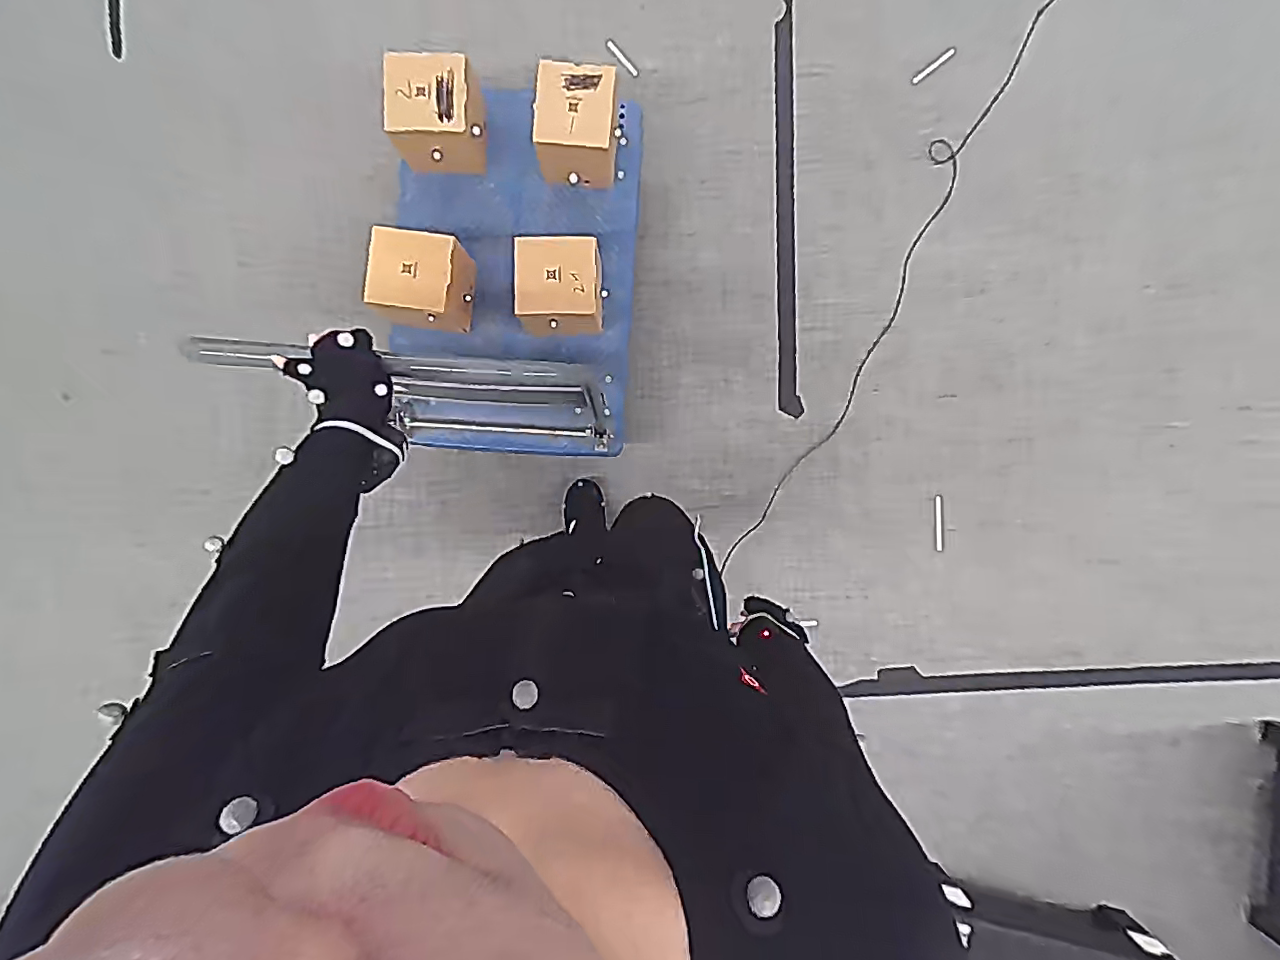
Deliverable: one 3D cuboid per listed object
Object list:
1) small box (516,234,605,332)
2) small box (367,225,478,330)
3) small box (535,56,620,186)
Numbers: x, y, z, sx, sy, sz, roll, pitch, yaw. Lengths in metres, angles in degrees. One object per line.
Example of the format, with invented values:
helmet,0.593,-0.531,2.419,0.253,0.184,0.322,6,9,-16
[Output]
small box,-0.174,-0.437,1.222,0.179,0.176,0.168,0,91,0
small box,-0.483,-0.449,1.222,0.179,0.176,0.168,6,90,-2
small box,-0.135,-0.800,1.219,0.168,0.176,0.179,5,92,0
